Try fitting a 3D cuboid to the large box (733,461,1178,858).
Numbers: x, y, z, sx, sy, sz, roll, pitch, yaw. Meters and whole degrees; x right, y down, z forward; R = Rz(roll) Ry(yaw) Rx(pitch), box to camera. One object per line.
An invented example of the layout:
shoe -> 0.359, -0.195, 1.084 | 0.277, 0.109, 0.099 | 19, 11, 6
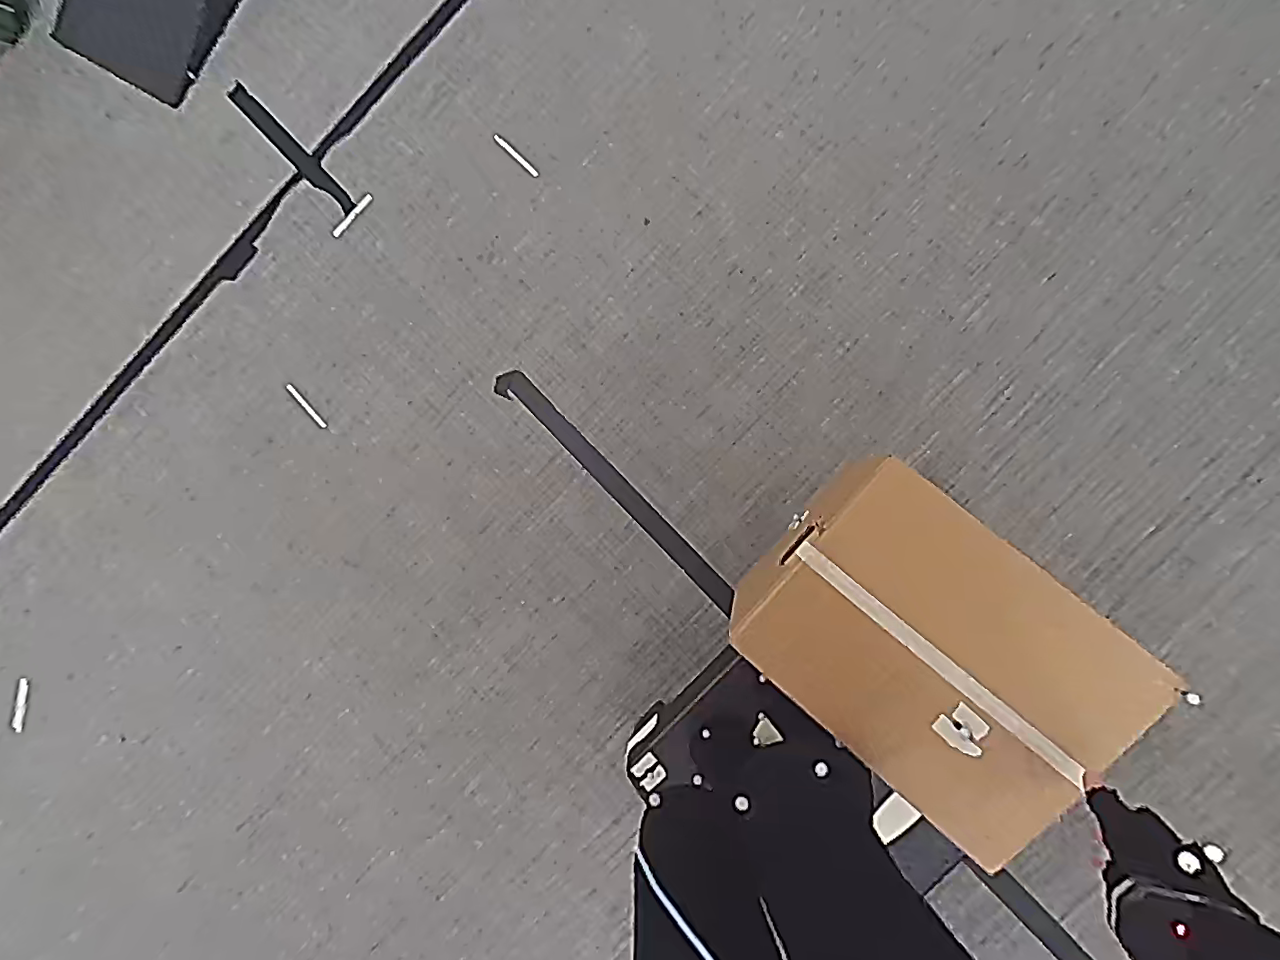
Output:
large box -> 0.388, 0.211, 0.798 | 0.408, 0.320, 0.320 | 40, 99, 8
